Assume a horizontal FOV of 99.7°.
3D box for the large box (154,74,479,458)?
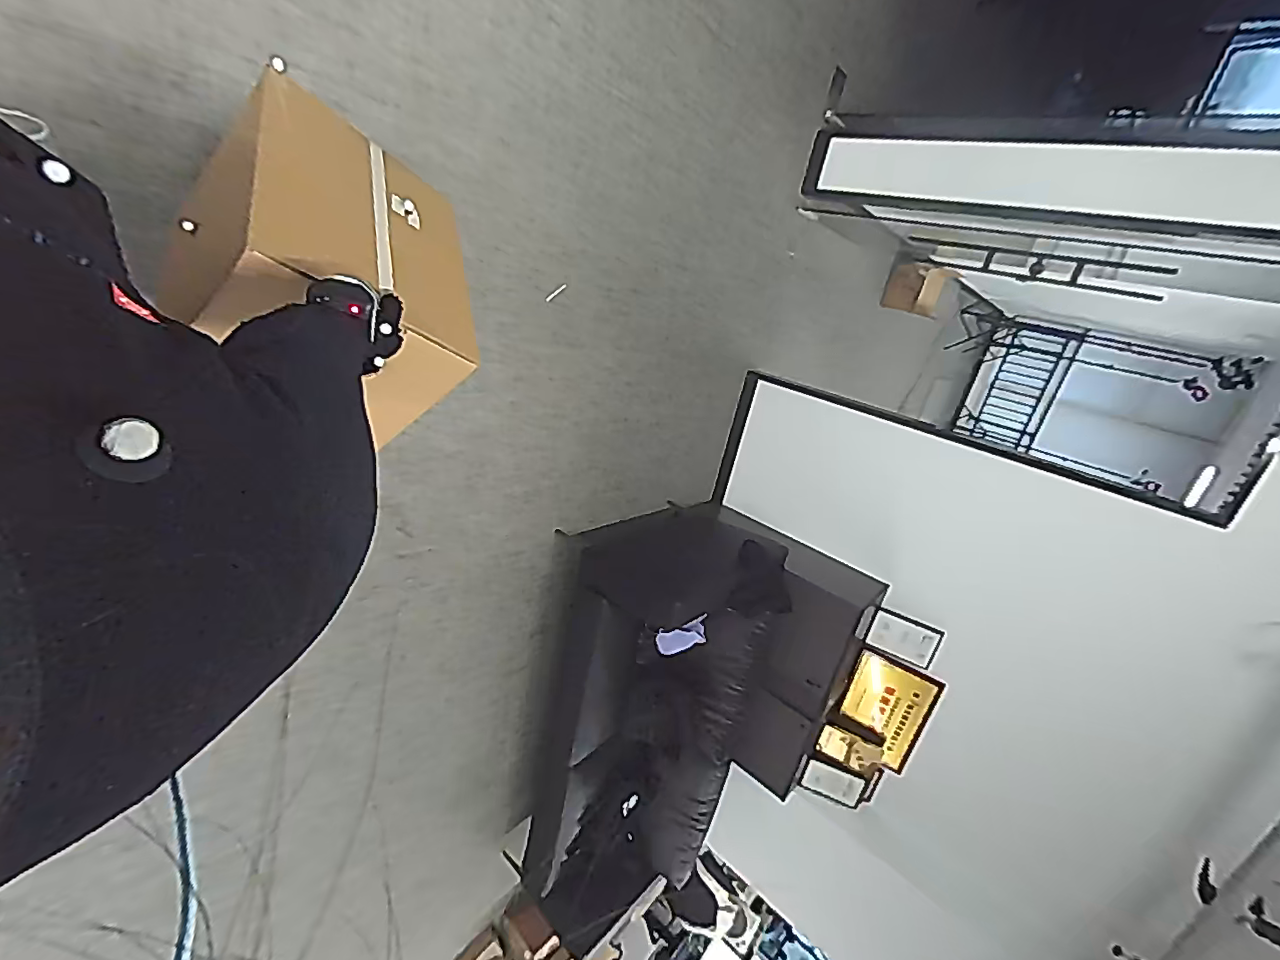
[{"bbox_3d":[-0.502,-0.304,0.858,0.320,0.408,0.320,-31,150,24],"label":"large box"}]
